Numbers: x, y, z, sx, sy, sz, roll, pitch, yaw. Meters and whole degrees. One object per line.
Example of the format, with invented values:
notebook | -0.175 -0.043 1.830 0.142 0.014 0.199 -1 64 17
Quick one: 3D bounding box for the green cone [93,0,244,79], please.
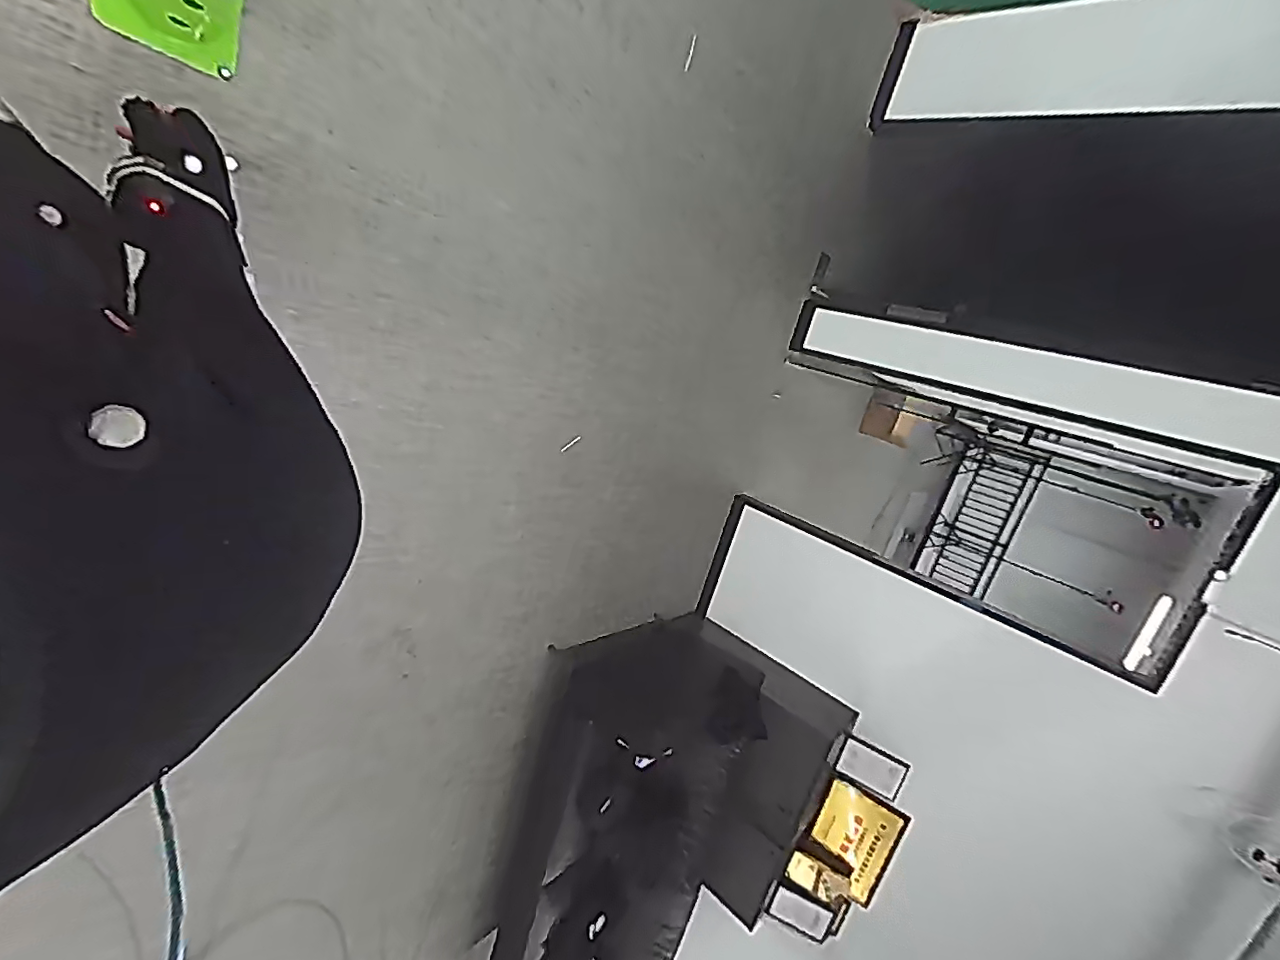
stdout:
green cone | -0.708 -0.806 0.857 0.202 0.368 0.200 -1 112 -49
